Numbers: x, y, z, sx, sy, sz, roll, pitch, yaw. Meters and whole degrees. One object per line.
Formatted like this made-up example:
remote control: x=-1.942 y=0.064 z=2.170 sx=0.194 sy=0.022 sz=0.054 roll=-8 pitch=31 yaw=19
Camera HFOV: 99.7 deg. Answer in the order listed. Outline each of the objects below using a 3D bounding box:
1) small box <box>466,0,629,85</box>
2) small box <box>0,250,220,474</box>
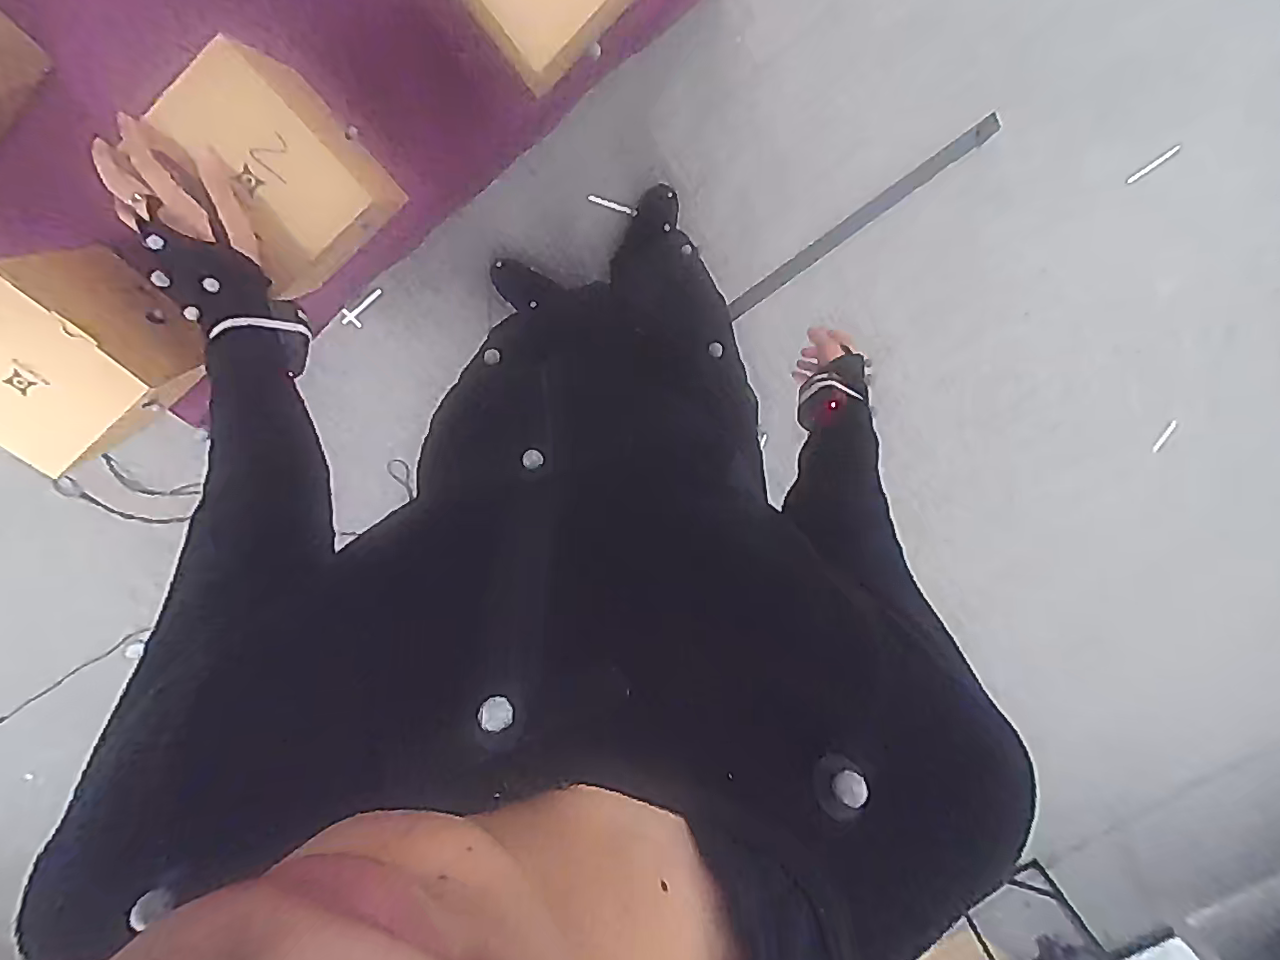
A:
small box: x=-0.104 y=-0.530 z=0.525 sx=0.168 sy=0.176 sz=0.179 roll=-39 pitch=118 yaw=12
small box: x=-0.657 y=-0.145 z=0.639 sx=0.179 sy=0.176 sz=0.168 roll=-37 pitch=118 yaw=9
